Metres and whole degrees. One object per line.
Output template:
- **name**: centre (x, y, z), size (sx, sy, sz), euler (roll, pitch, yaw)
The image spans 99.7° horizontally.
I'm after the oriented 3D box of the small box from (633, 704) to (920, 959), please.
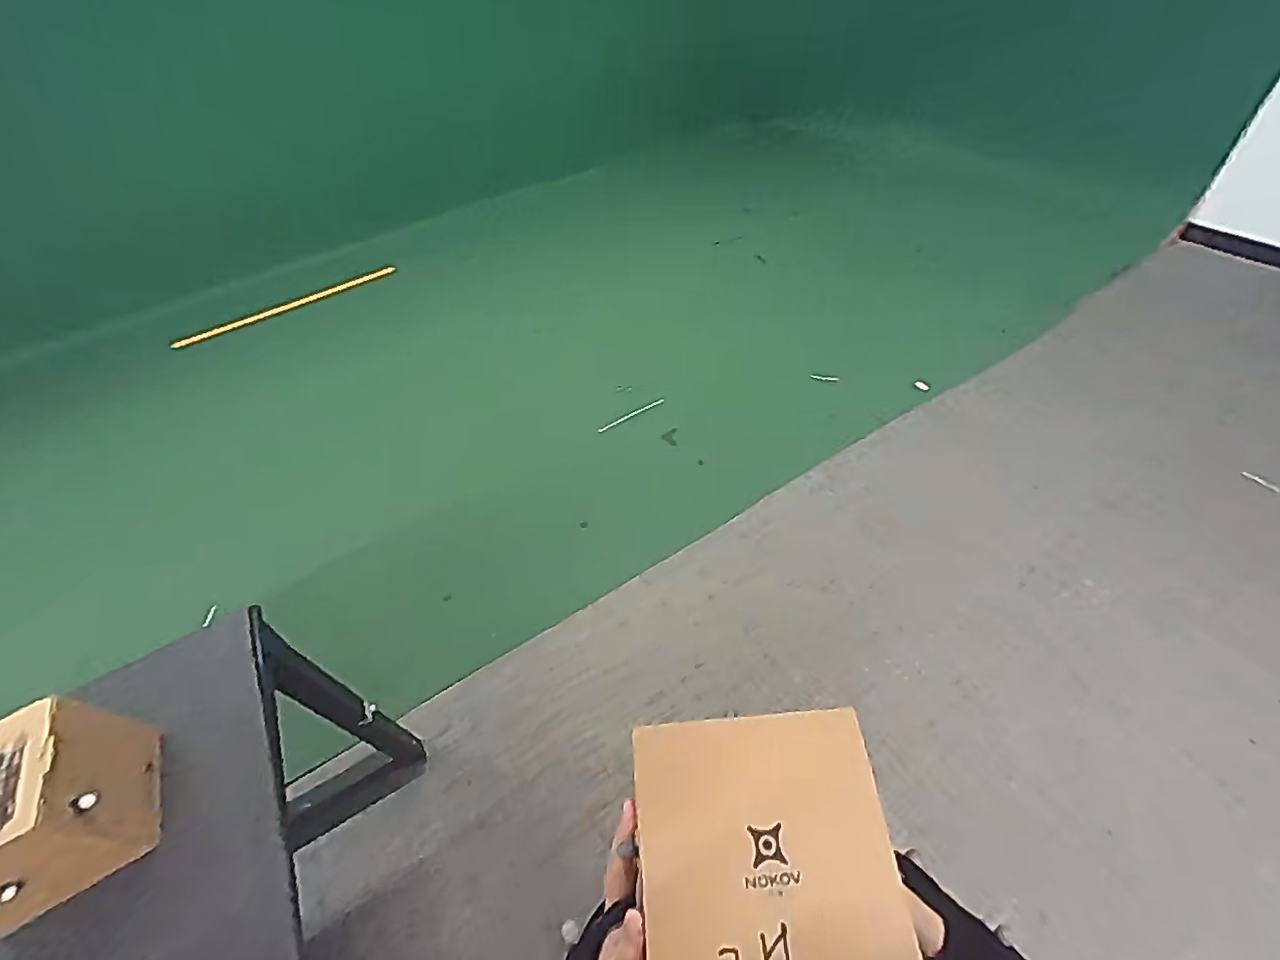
- **small box**: centre (0.080, 0.283, 0.414), size (0.168, 0.176, 0.179), euler (-3, 58, -2)
